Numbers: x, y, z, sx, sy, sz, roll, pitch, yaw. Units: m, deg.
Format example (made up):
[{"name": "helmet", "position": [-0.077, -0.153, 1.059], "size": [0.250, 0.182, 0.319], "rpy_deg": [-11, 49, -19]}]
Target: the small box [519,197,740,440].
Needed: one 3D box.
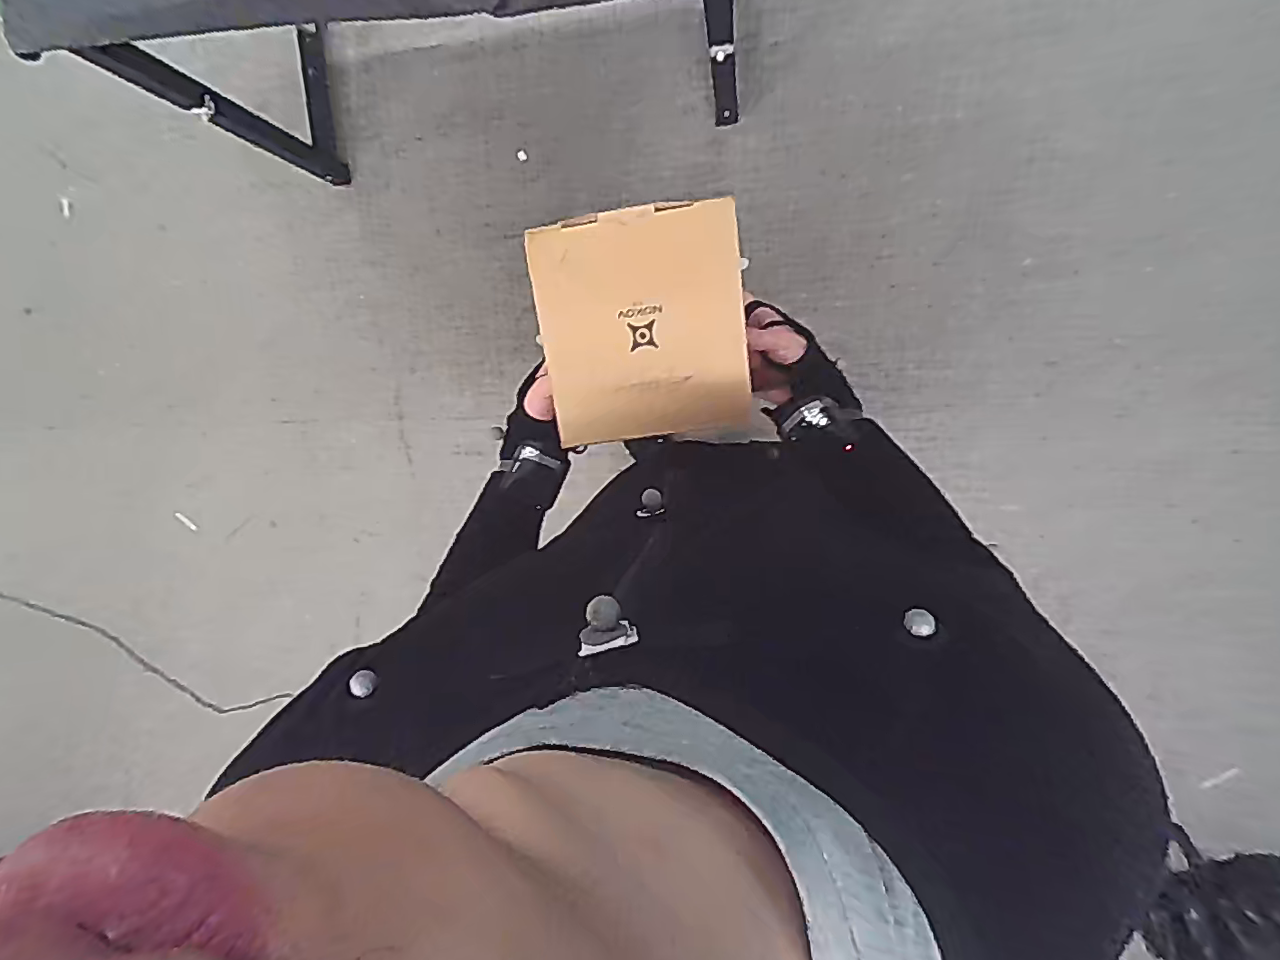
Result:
[{"name": "small box", "position": [0.000, -0.147, 0.510], "size": [0.168, 0.176, 0.179], "rpy_deg": [-5, 108, 7]}]
